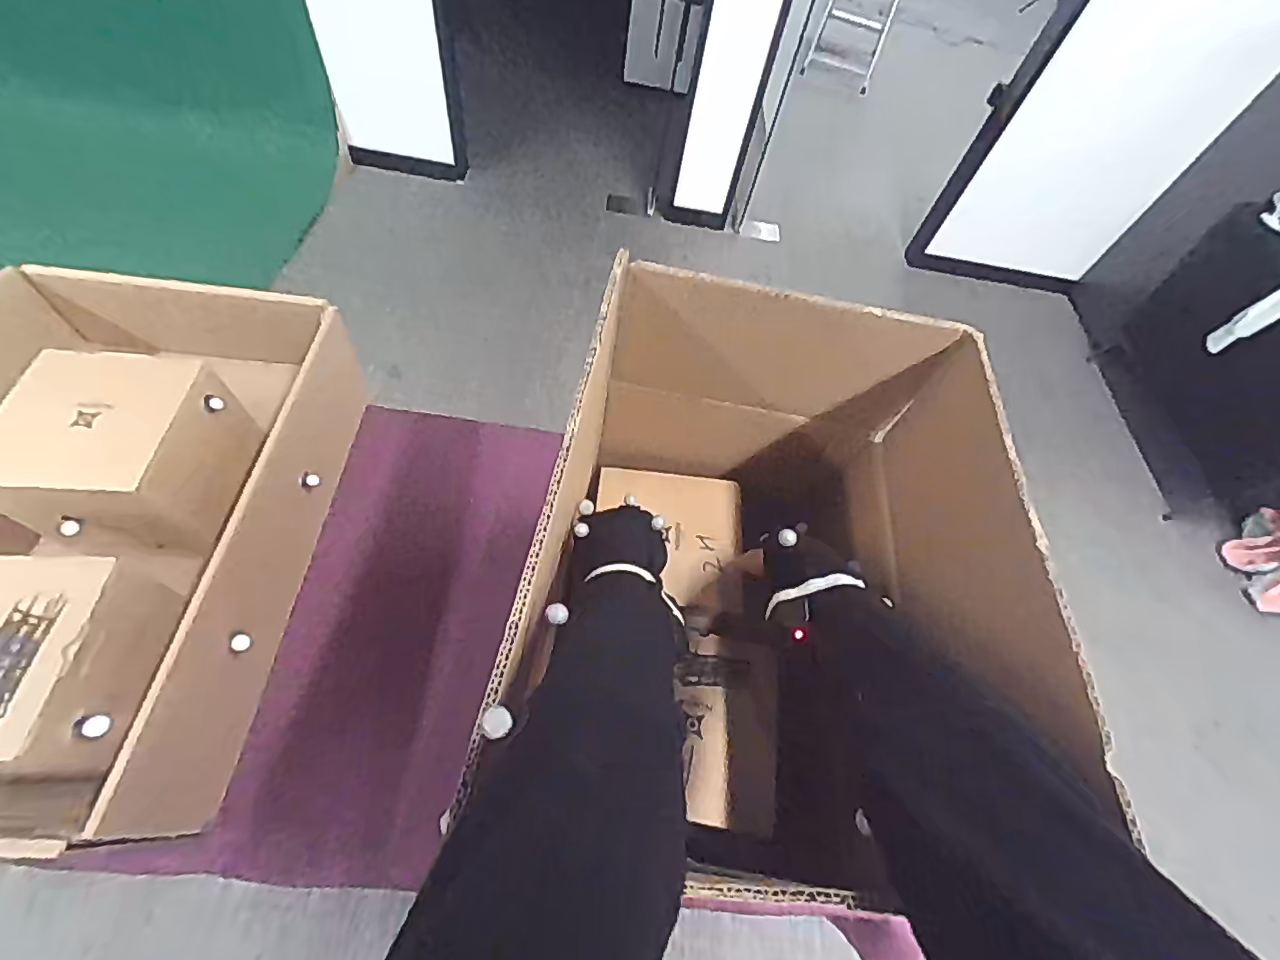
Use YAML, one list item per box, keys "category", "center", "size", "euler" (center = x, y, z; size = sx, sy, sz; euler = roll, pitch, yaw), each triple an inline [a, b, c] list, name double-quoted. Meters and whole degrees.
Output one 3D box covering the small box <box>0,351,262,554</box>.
- category: "small box"
  center: [-0.580, -0.023, 0.624]
  size: [0.168, 0.176, 0.179]
  euler: [2, 58, -6]
